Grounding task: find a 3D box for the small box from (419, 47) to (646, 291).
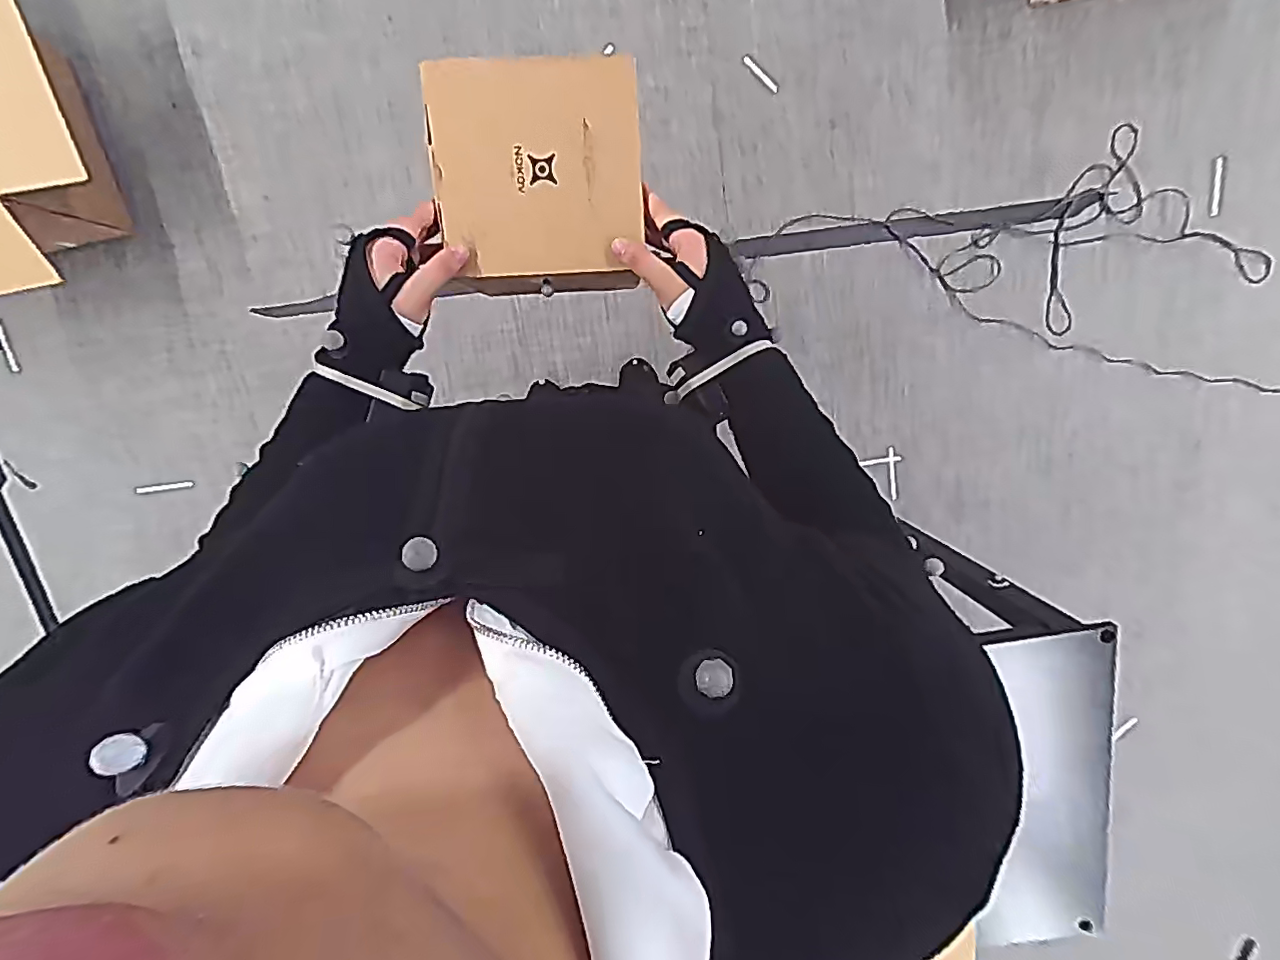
[{"bbox_3d":[-0.089,-0.282,0.527,0.179,0.176,0.168,-5,104,-3],"label":"small box"}]
